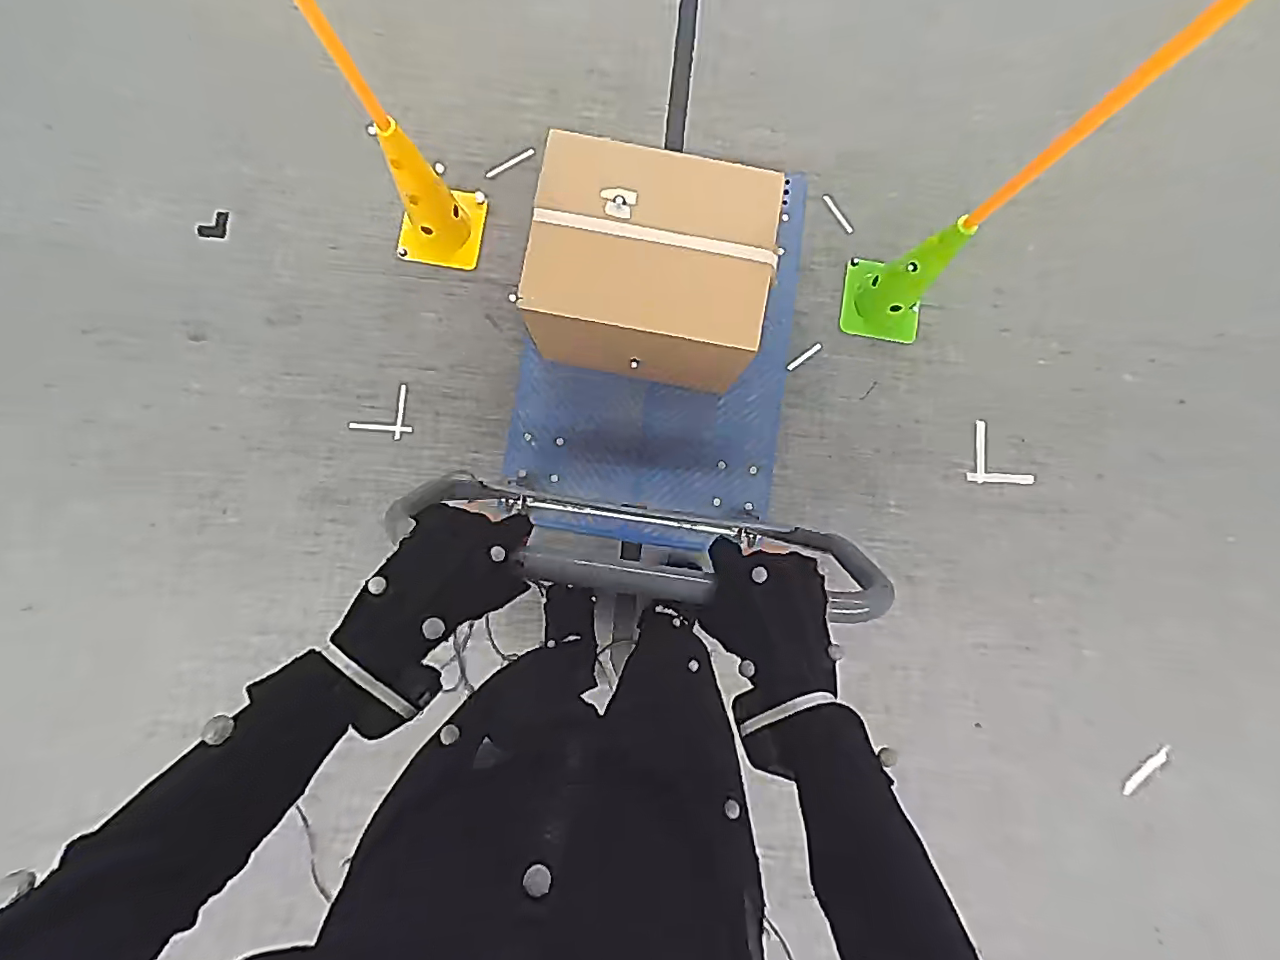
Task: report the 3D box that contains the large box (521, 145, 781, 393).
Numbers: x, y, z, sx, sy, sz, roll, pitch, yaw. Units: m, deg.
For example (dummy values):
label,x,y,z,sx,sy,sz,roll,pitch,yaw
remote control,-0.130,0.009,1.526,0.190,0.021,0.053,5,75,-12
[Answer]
label,x,y,z,sx,sy,sz,roll,pitch,yaw
large box,0.021,-0.377,1.052,0.408,0.320,0.320,10,85,0

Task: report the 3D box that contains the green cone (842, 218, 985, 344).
label,x,y,z,sx,sy,sz,roll,pitch,yaw
green cone,0.635,-0.472,1.224,0.202,0.368,0.200,10,85,-2
